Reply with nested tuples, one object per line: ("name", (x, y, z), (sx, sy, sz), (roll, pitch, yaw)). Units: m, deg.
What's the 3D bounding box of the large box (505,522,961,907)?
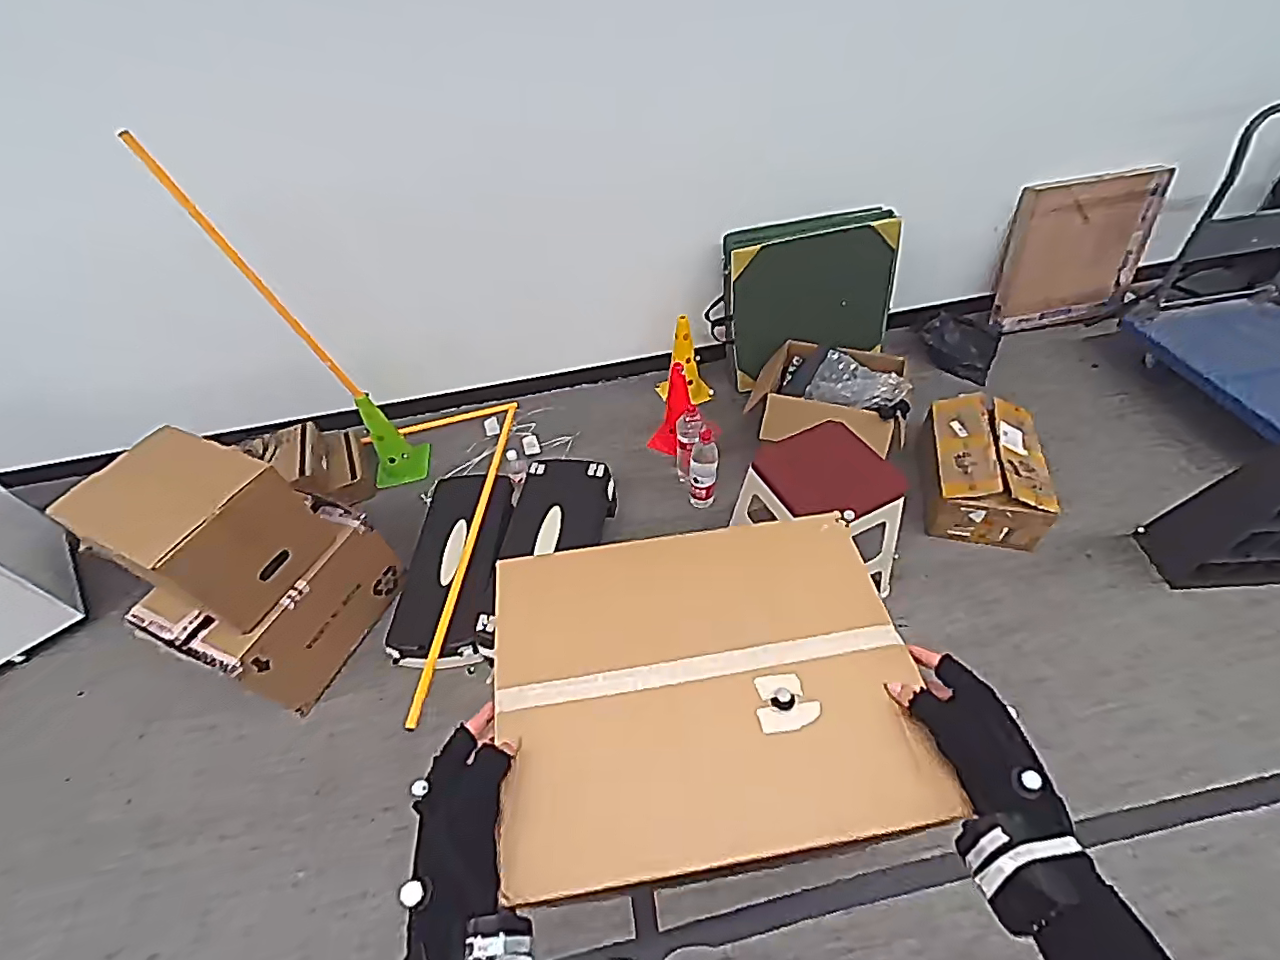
("large box", (0.066, 0.288, 0.660), (0.408, 0.320, 0.320), (-7, 51, -4))
